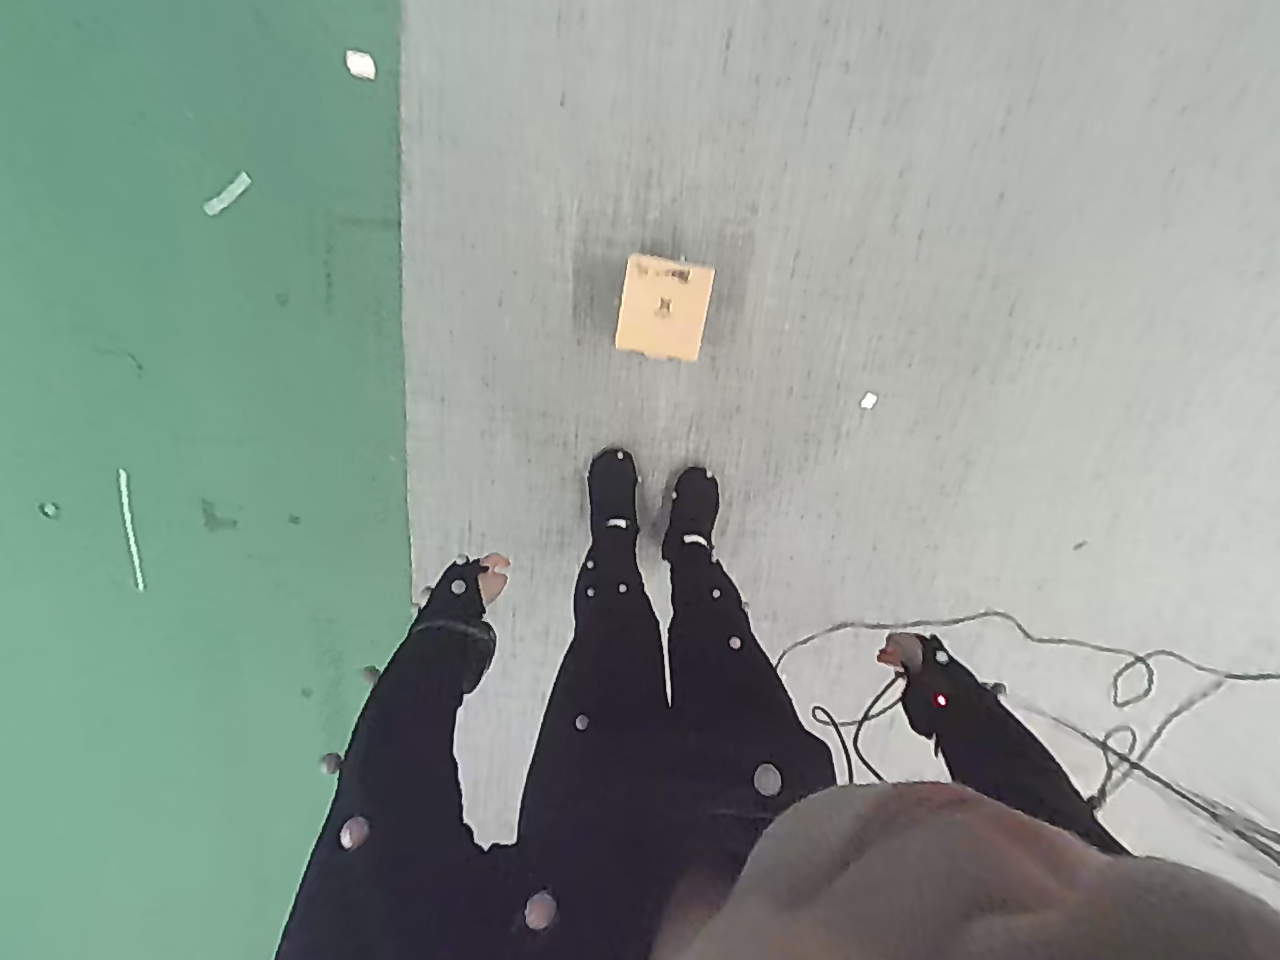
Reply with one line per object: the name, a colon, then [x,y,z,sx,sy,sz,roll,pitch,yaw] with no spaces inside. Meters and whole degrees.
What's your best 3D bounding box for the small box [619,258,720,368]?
small box: [0.054,-0.337,1.098,0.168,0.176,0.179,10,107,-4]
